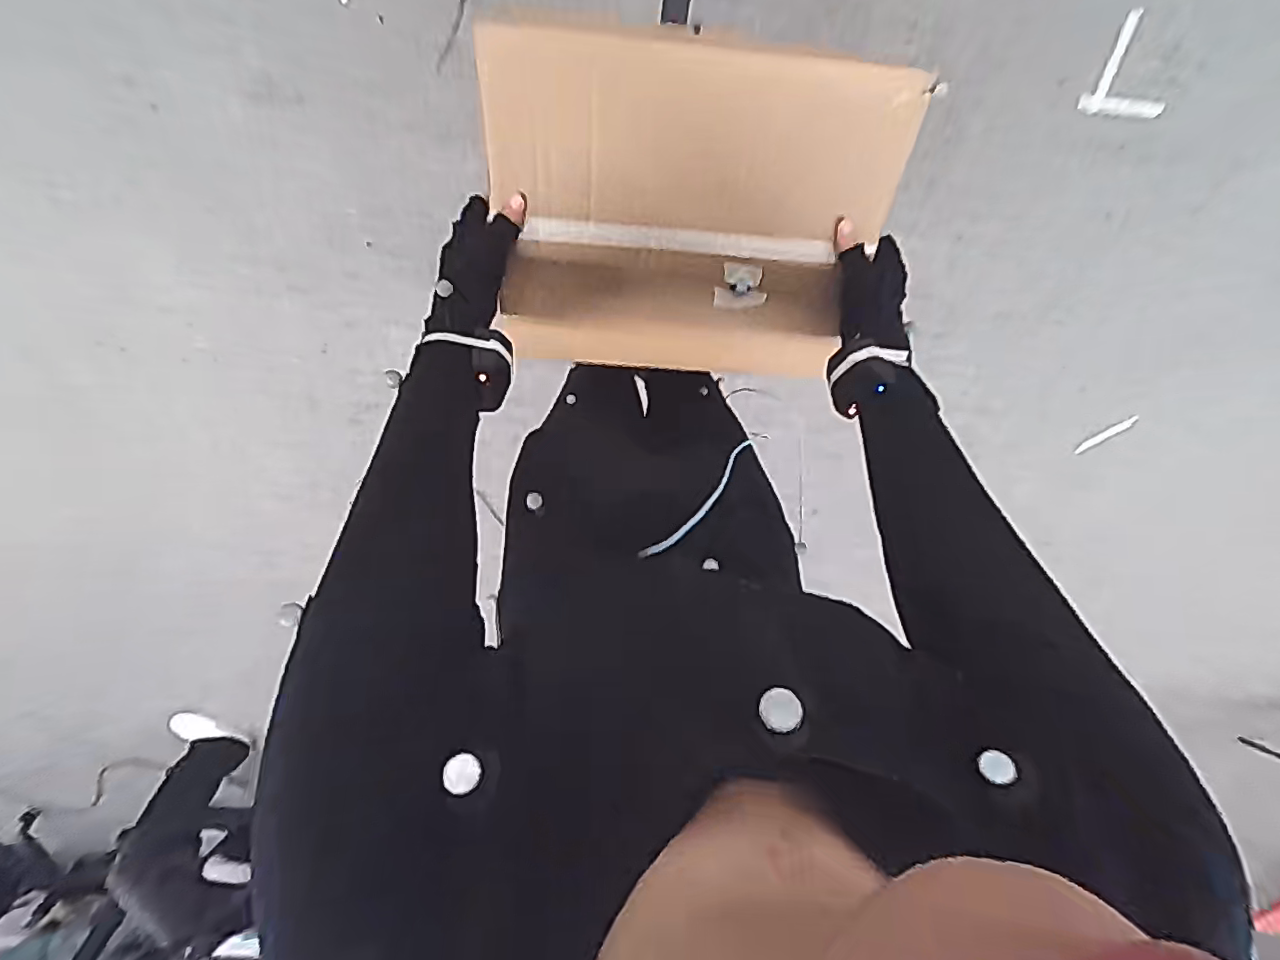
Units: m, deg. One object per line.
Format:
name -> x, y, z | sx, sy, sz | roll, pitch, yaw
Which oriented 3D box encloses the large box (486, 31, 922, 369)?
large box -> 0.047, -0.361, 0.692 | 0.408, 0.320, 0.320 | 2, 133, -4
